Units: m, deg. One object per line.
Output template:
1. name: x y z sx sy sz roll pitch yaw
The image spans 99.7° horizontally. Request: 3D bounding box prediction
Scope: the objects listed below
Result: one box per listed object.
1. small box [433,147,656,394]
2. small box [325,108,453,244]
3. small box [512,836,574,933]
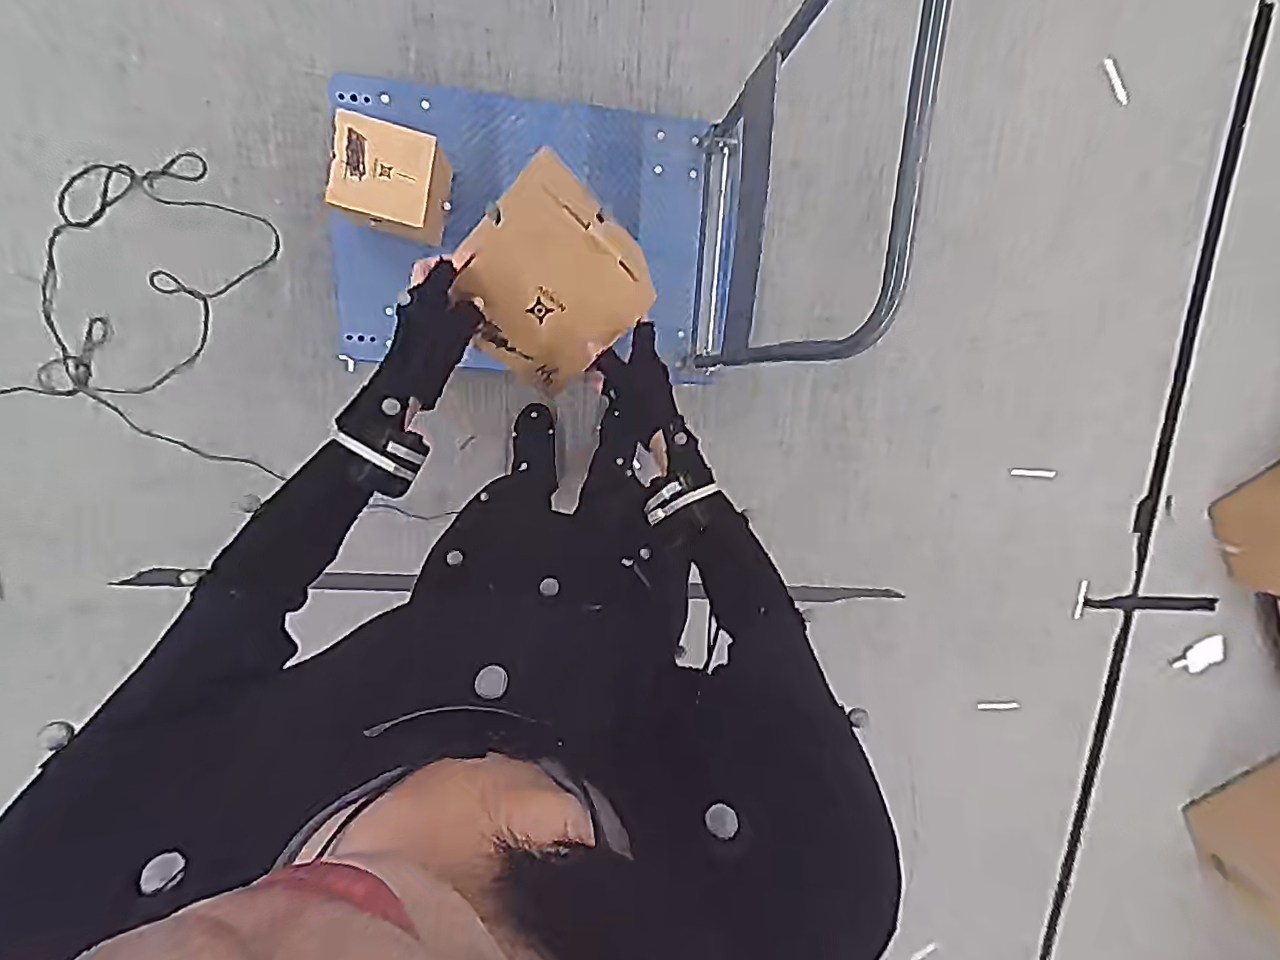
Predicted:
1. small box: -0.108 -0.242 0.622 0.179 0.176 0.168 -37 126 23
2. small box: -0.488 -0.589 1.073 0.179 0.176 0.168 12 99 -11
3. small box: -0.293 1.226 1.647 0.179 0.176 0.168 1 102 -9
